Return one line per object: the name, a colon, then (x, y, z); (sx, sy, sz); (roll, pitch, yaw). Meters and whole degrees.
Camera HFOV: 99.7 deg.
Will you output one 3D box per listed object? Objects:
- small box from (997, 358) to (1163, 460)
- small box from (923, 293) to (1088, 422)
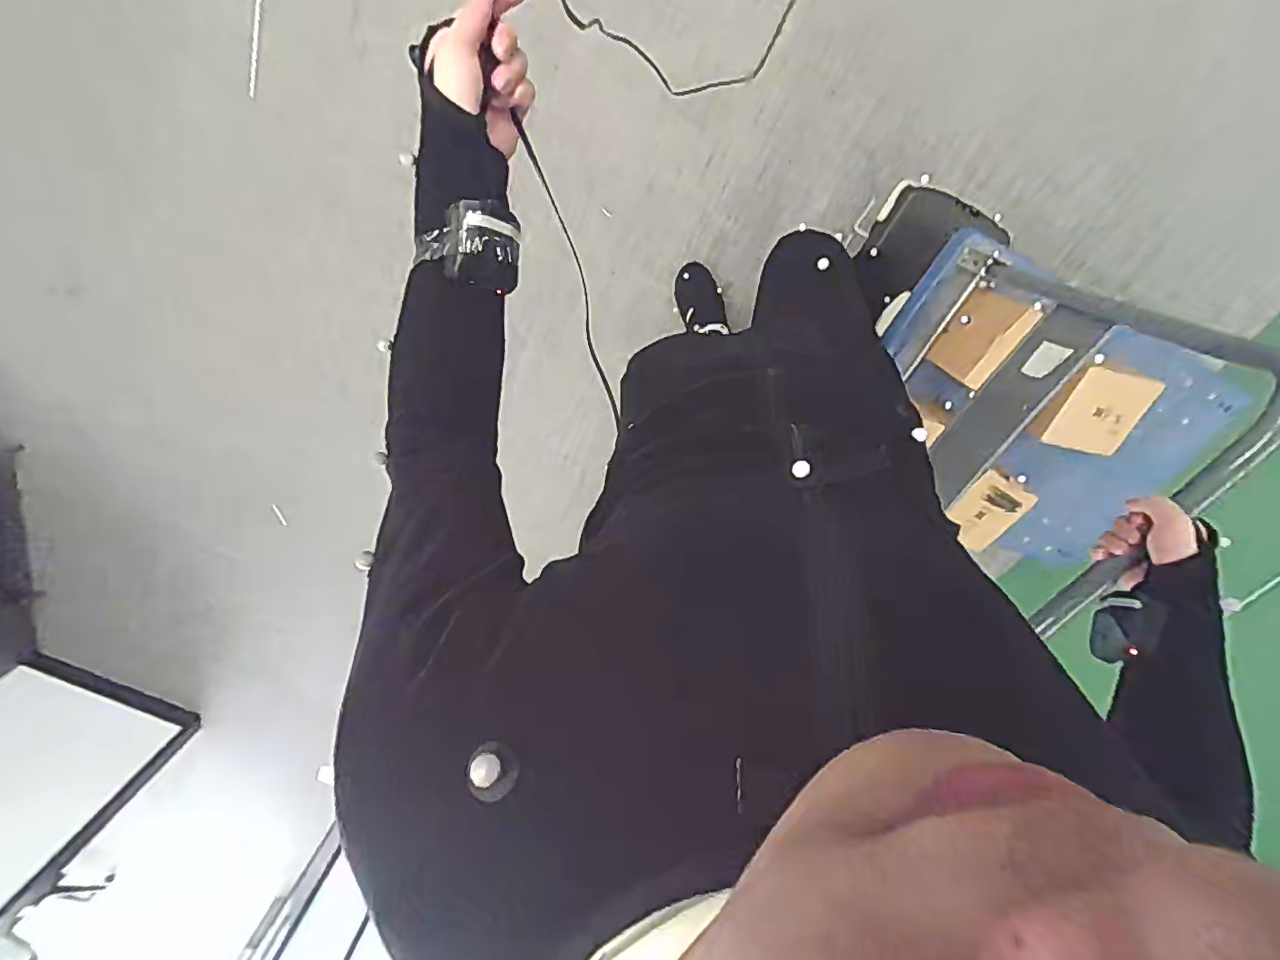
small box: (0.909, -0.166, 1.140); (0.179, 0.176, 0.168); (11, 121, -8)
small box: (0.719, -0.251, 1.084); (0.179, 0.176, 0.168); (25, 118, -15)
